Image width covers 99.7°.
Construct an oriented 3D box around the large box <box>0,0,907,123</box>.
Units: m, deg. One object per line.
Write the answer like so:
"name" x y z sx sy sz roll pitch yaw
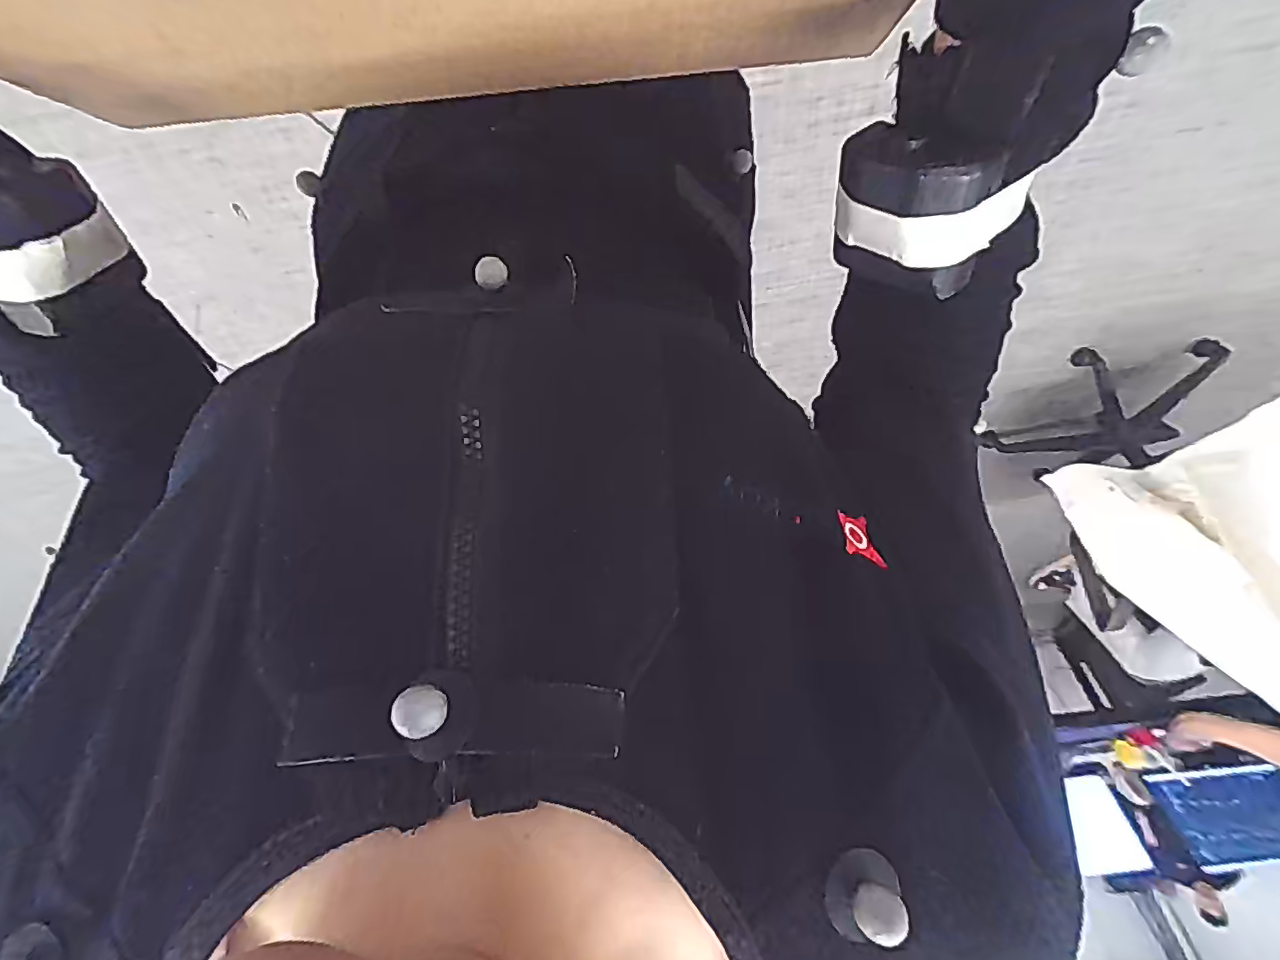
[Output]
"large box" -0.094 -0.321 0.109 0.408 0.320 0.320 -4 105 3
